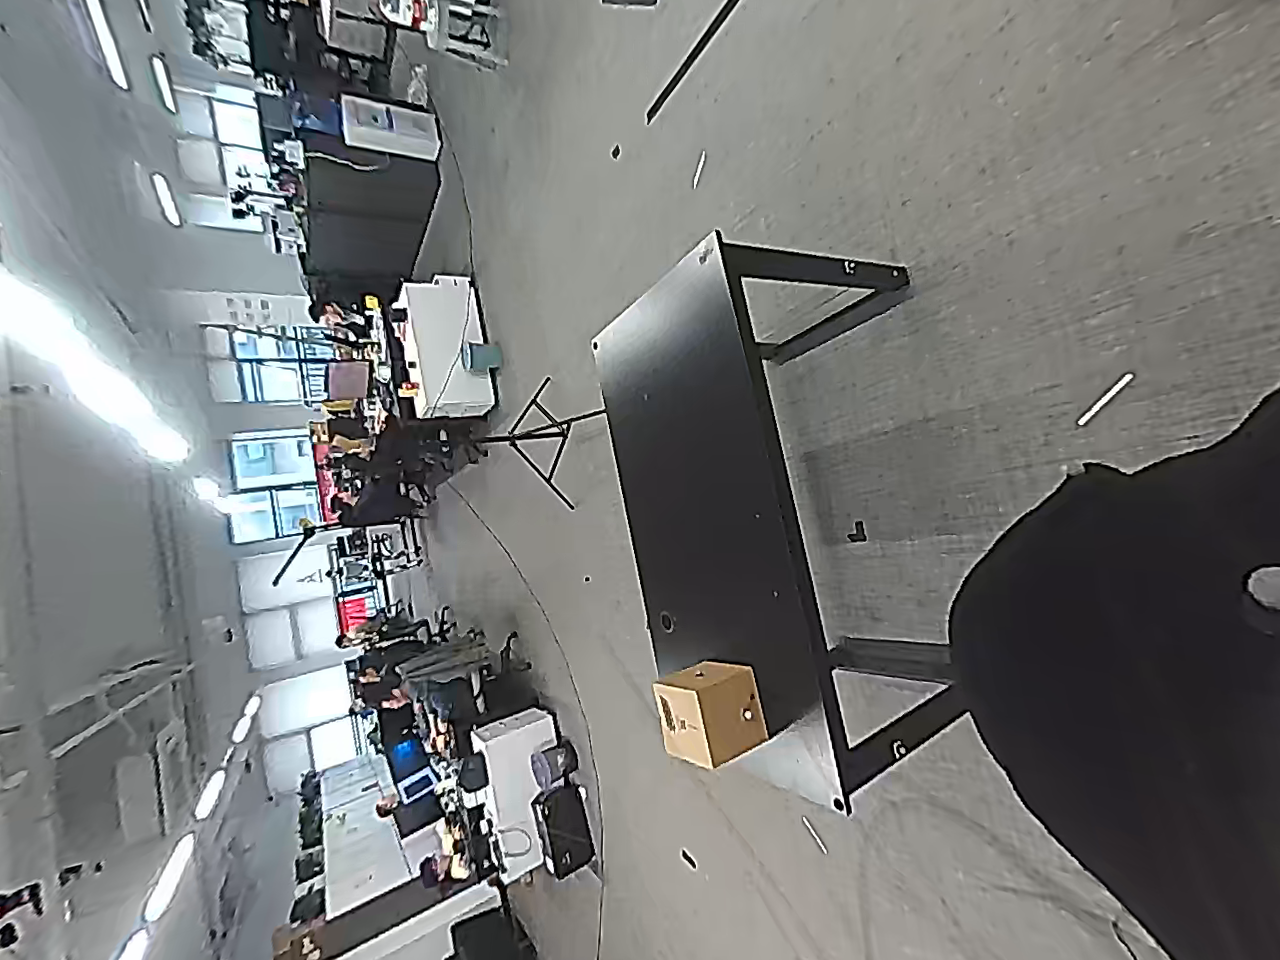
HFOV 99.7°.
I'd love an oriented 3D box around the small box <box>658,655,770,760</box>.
[{"bbox_3d":[0.170,0.514,1.250,0.179,0.176,0.168,-22,79,57],"label":"small box"}]
